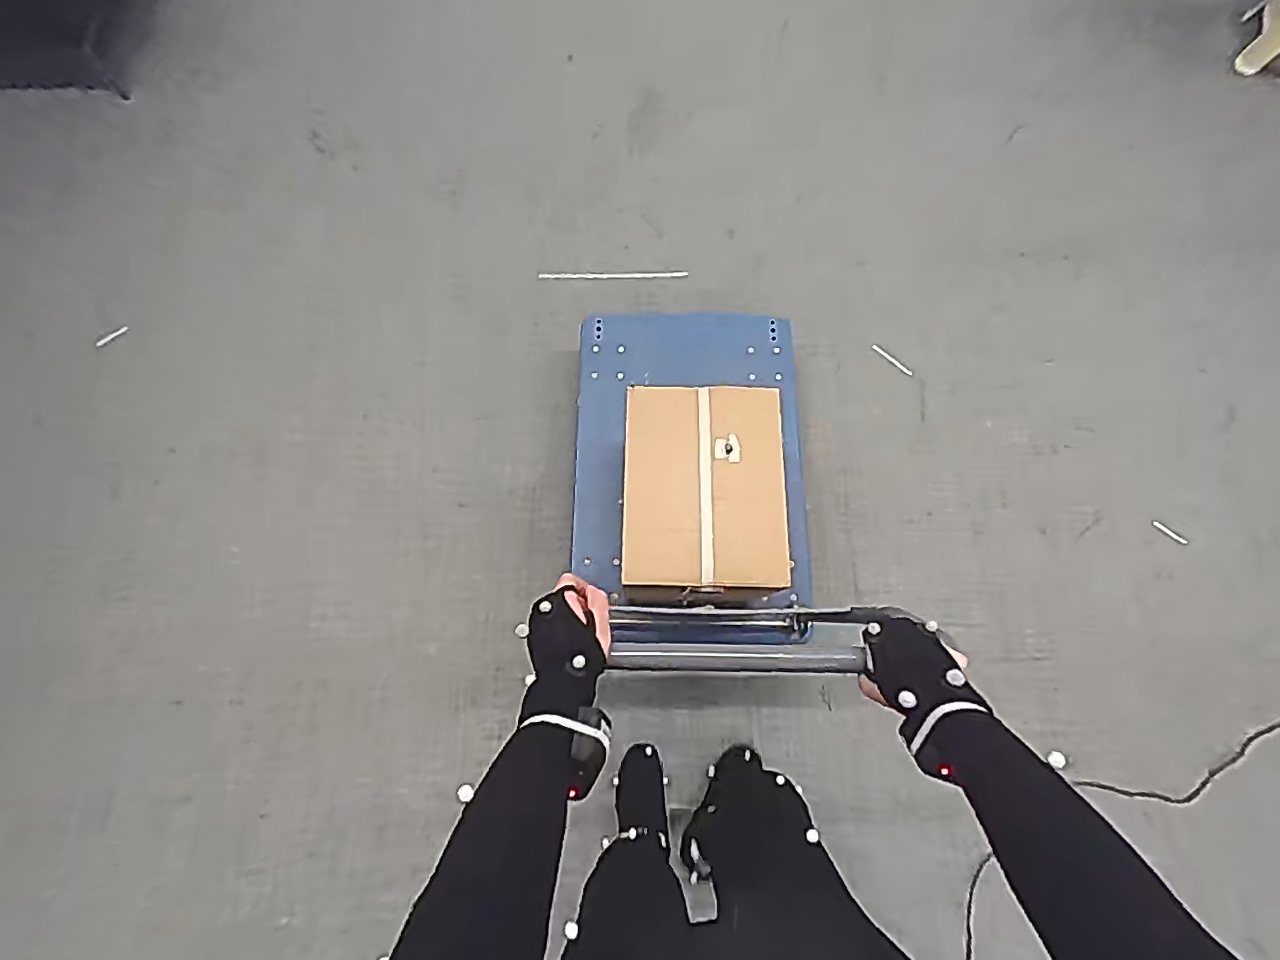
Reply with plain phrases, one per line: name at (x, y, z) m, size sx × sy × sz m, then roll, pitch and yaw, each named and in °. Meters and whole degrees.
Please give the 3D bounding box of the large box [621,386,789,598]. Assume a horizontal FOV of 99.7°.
large box at (0.123, 0.043, 1.191) m, size 0.320 × 0.320 × 0.408 m, roll 1°, pitch 72°, yaw 0°
